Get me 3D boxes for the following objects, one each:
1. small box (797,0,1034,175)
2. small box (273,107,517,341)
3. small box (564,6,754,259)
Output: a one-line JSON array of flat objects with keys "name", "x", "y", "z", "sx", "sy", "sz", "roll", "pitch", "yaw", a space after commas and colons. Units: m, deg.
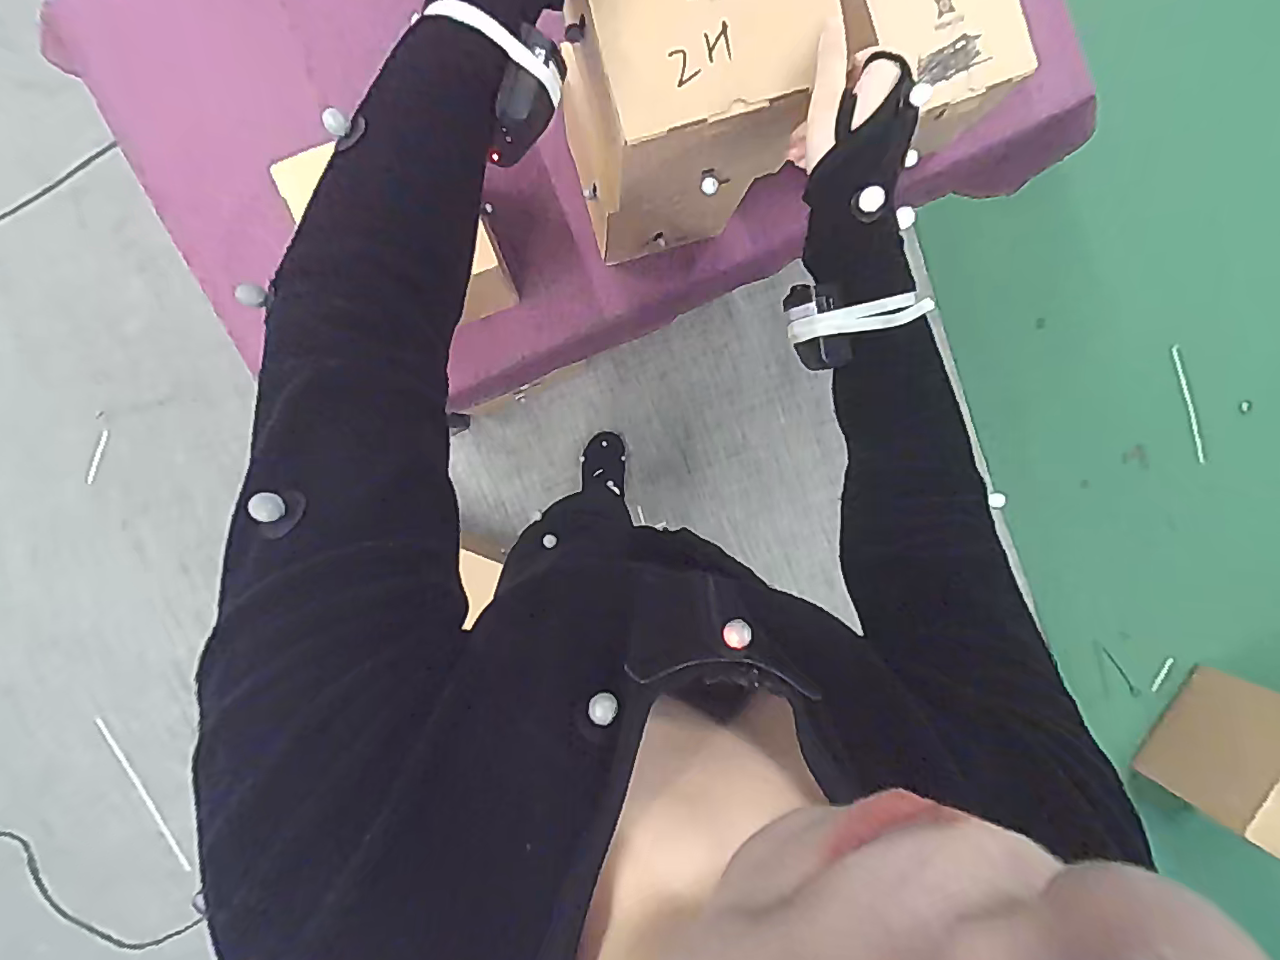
[{"name": "small box", "x": 0.314, "y": -0.500, "z": 0.650, "sx": 0.168, "sy": 0.176, "sz": 0.179, "roll": -22, "pitch": 97, "yaw": -3}, {"name": "small box", "x": -0.260, "y": -0.273, "z": 0.622, "sx": 0.179, "sy": 0.176, "sz": 0.168, "roll": -22, "pitch": 98, "yaw": -2}, {"name": "small box", "x": 0.013, "y": -0.389, "z": 0.637, "sx": 0.168, "sy": 0.176, "sz": 0.179, "roll": -17, "pitch": 98, "yaw": -3}]
